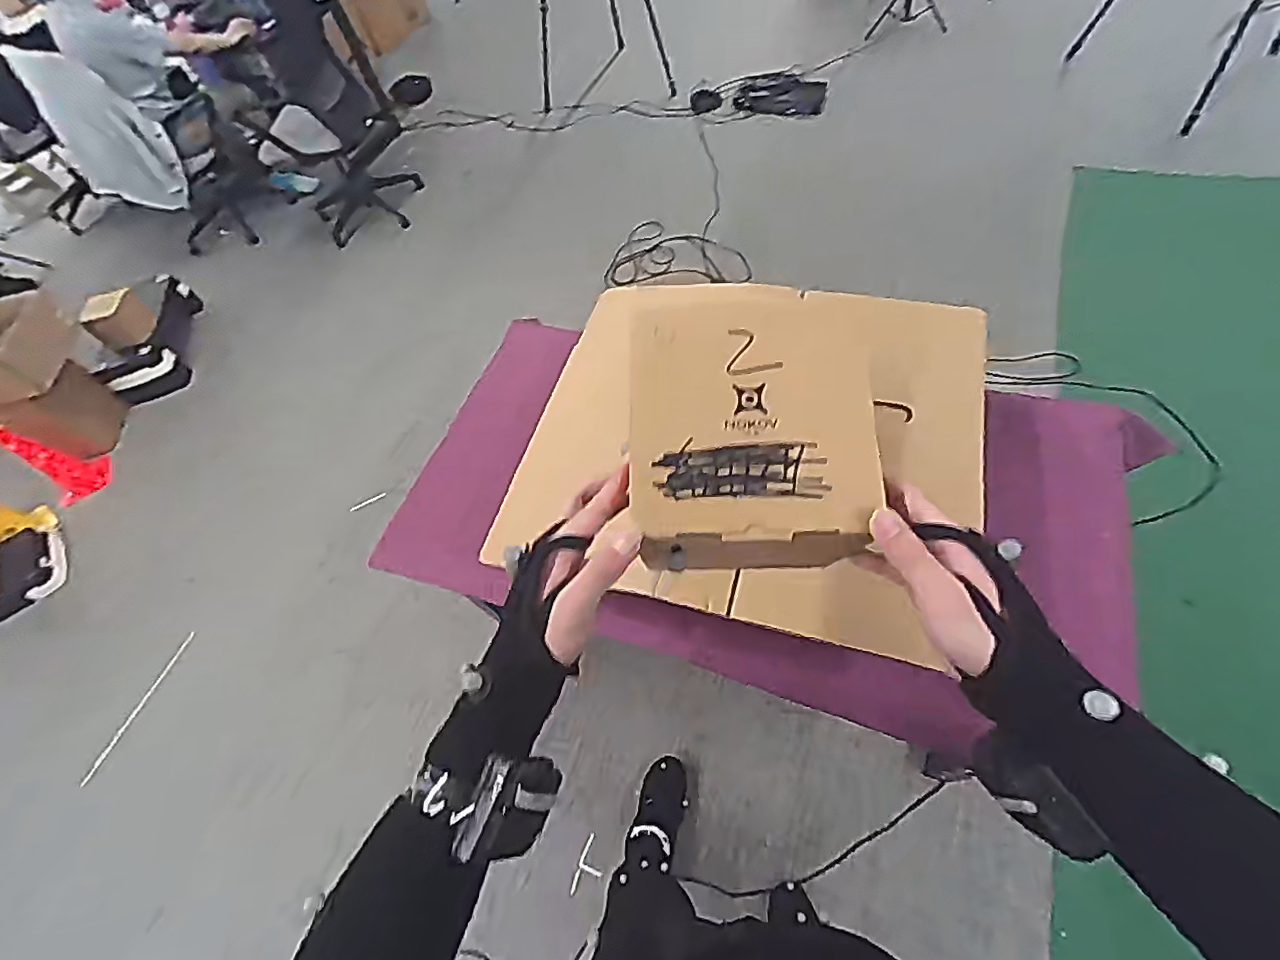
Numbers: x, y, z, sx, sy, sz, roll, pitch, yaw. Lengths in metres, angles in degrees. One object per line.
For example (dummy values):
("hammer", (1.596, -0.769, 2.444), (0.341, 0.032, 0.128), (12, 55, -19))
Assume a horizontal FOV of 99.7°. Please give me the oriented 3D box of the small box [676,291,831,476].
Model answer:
("small box", (0.156, -0.133, 0.760), (0.168, 0.176, 0.179), (13, 63, 16))
